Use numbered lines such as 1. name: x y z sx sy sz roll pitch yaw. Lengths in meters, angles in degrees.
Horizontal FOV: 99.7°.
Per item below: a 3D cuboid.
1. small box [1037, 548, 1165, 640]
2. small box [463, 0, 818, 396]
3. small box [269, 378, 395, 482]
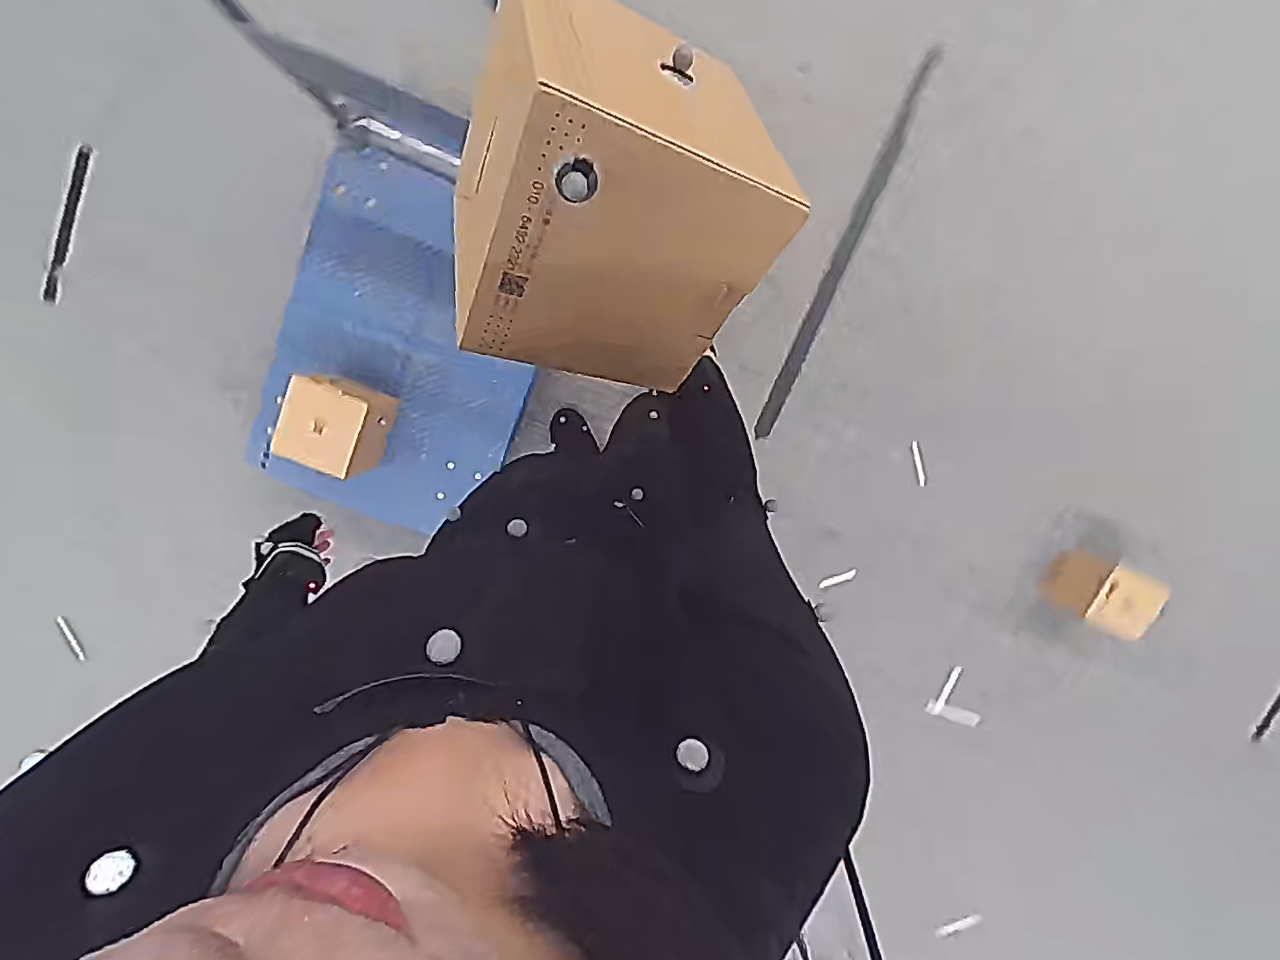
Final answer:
1. small box: 1.281 0.311 1.516 0.179 0.176 0.168 25 99 -6
2. small box: -0.018 -0.188 0.370 0.176 0.179 0.168 9 144 -30
3. small box: -0.674 -0.116 1.205 0.168 0.176 0.179 21 99 -4
